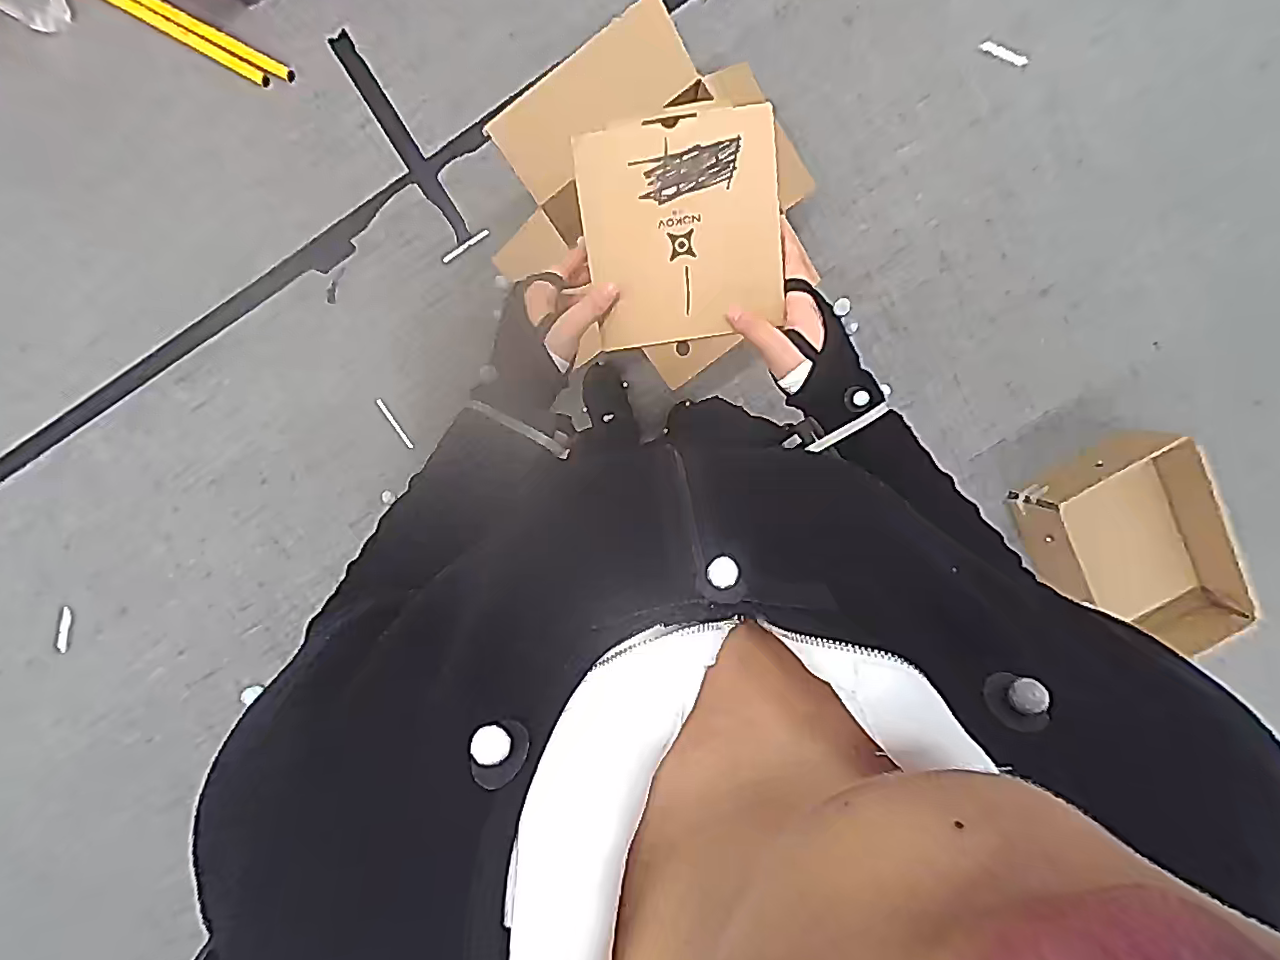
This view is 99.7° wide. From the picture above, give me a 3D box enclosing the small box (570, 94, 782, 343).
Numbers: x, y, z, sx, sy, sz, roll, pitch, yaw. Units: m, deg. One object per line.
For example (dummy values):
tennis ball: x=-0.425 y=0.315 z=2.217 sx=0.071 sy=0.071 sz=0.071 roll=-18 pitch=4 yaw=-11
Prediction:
small box: x=0.035 y=-0.233 z=0.530 sx=0.168 sy=0.176 sz=0.179 roll=-7 pitch=104 yaw=4
